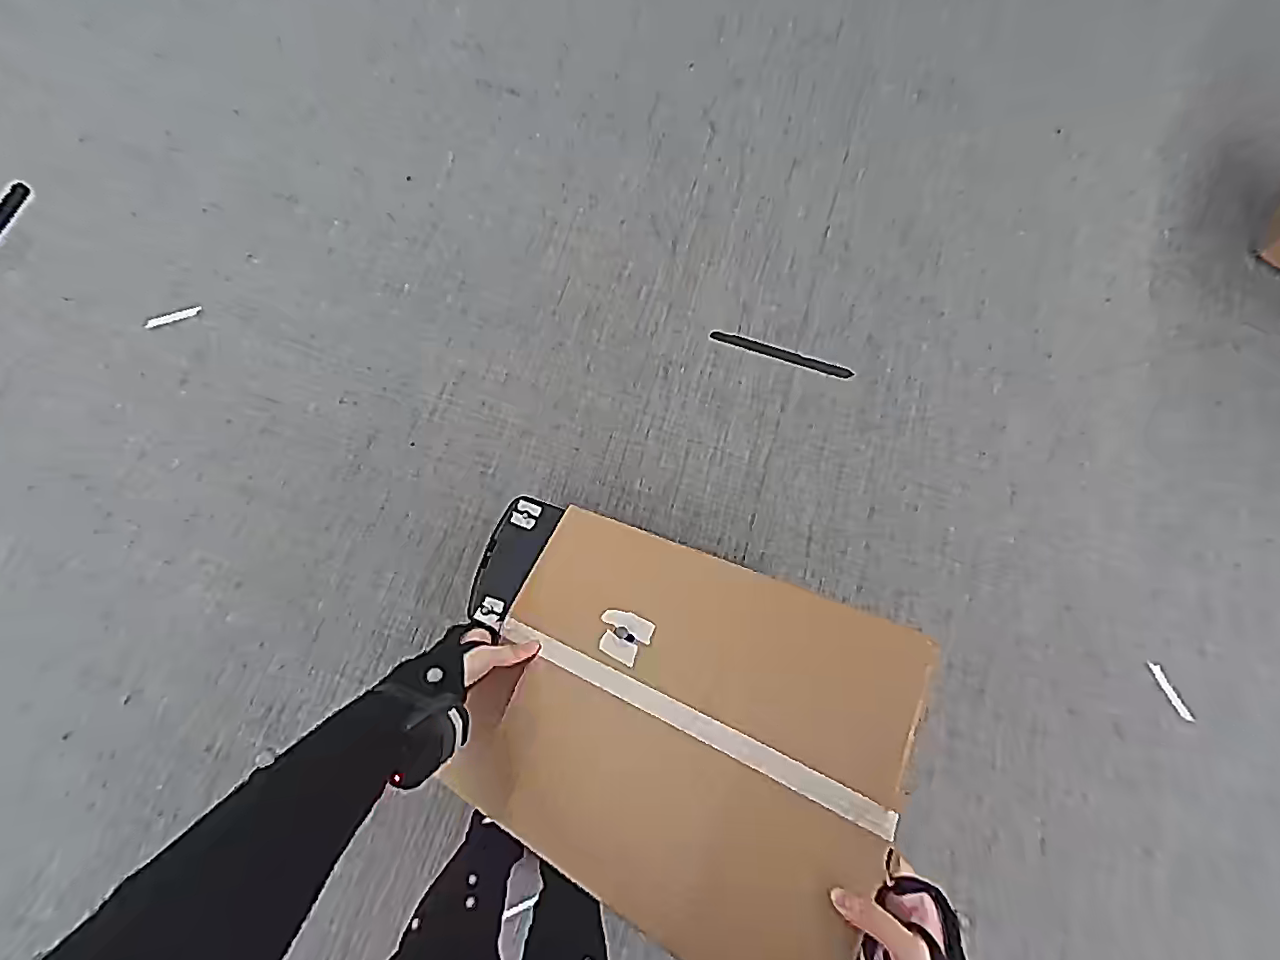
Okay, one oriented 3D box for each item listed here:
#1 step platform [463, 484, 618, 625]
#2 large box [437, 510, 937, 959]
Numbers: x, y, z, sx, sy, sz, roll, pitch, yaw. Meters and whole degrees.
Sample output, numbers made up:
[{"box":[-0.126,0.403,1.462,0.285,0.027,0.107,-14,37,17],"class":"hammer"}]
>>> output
[{"box":[-0.018,0.266,1.156,0.684,0.204,0.286,24,76,3],"class":"step platform"},{"box":[0.072,0.281,0.627,0.408,0.320,0.320,17,67,27],"class":"large box"}]
